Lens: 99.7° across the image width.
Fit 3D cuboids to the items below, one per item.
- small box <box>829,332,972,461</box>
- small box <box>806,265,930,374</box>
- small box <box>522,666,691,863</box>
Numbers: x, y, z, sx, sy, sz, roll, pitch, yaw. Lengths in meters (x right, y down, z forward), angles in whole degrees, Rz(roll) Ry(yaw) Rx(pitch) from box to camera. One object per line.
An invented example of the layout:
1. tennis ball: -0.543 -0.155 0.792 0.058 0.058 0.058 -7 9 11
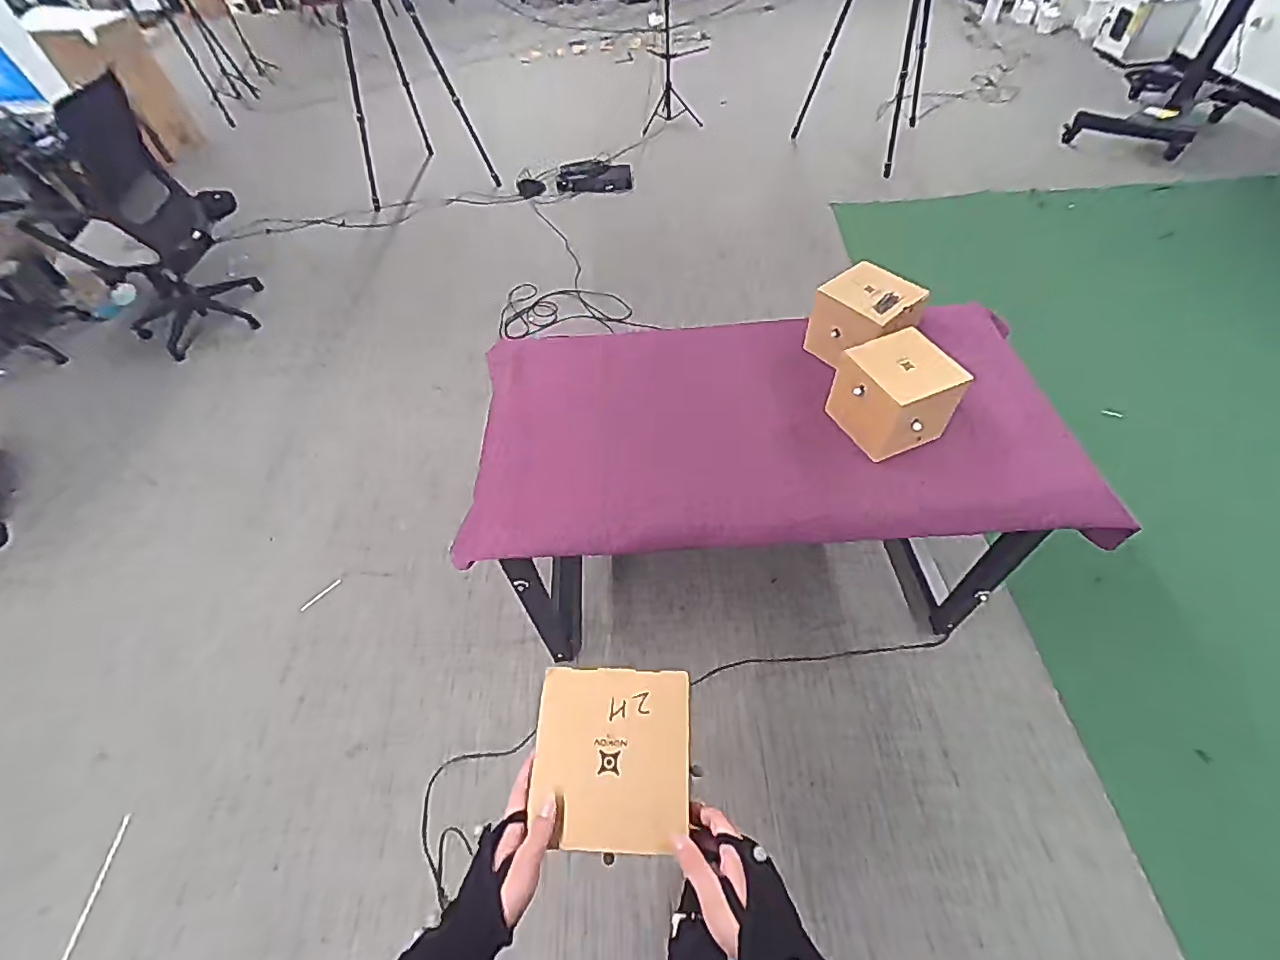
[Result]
1. small box: 0.508 -0.159 1.085 0.168 0.176 0.179 -20 53 -11
2. small box: 0.505 -0.346 1.224 0.168 0.176 0.179 -33 57 -19
3. small box: -0.024 0.327 0.630 0.168 0.176 0.179 1 59 5
